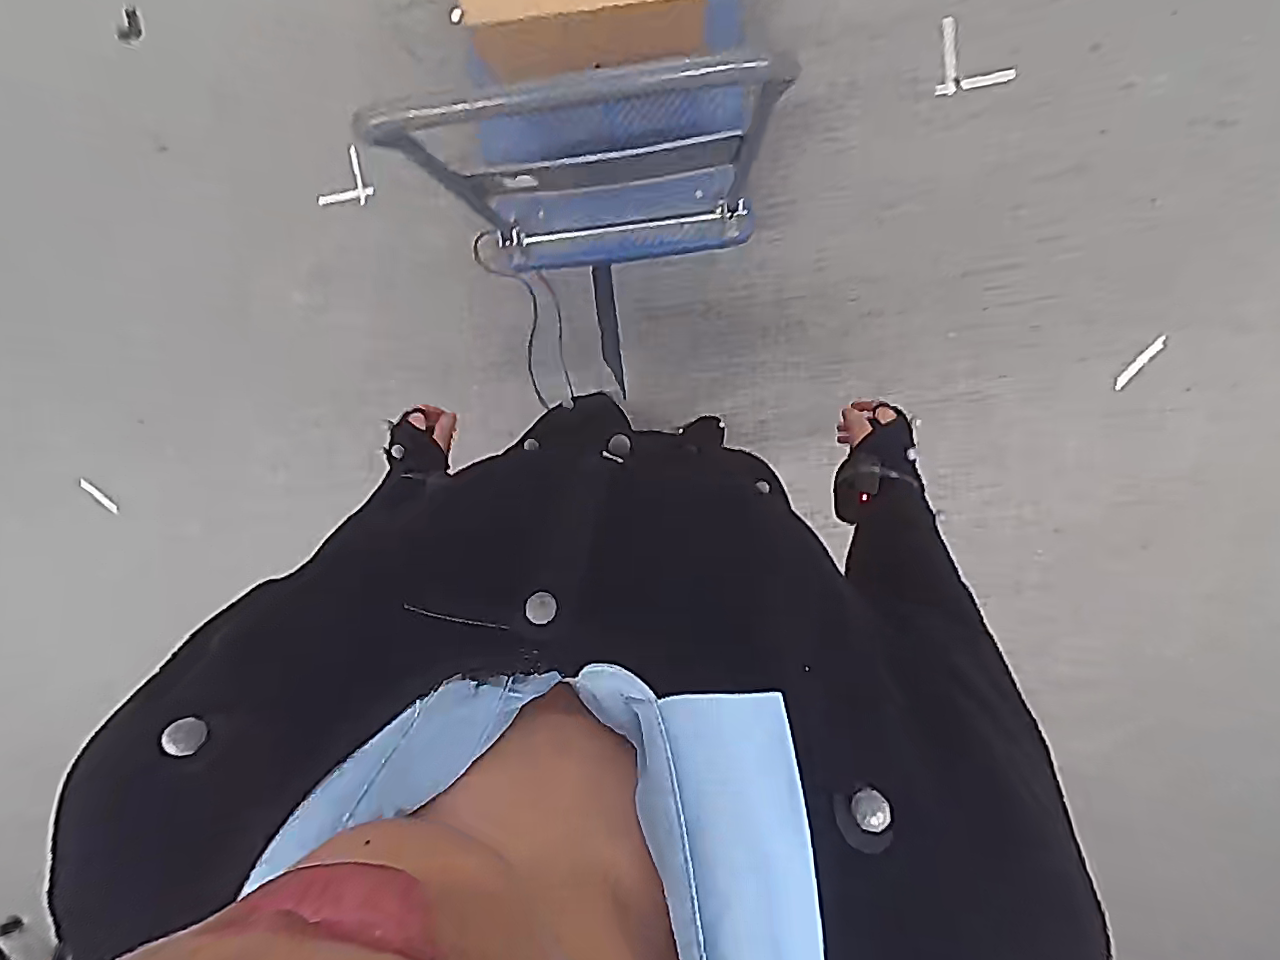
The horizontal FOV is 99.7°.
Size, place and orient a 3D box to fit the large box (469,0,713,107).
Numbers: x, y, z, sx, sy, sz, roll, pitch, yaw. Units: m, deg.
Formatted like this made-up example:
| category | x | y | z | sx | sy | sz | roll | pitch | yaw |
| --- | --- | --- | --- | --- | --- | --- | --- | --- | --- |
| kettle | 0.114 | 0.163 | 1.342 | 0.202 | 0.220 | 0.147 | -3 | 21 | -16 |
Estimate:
| category | x | y | z | sx | sy | sz | roll | pitch | yaw |
| --- | --- | --- | --- | --- | --- | --- | --- | --- | --- |
| large box | -0.080 | -0.940 | 0.990 | 0.408 | 0.320 | 0.320 | -3 | 101 | 6 |
